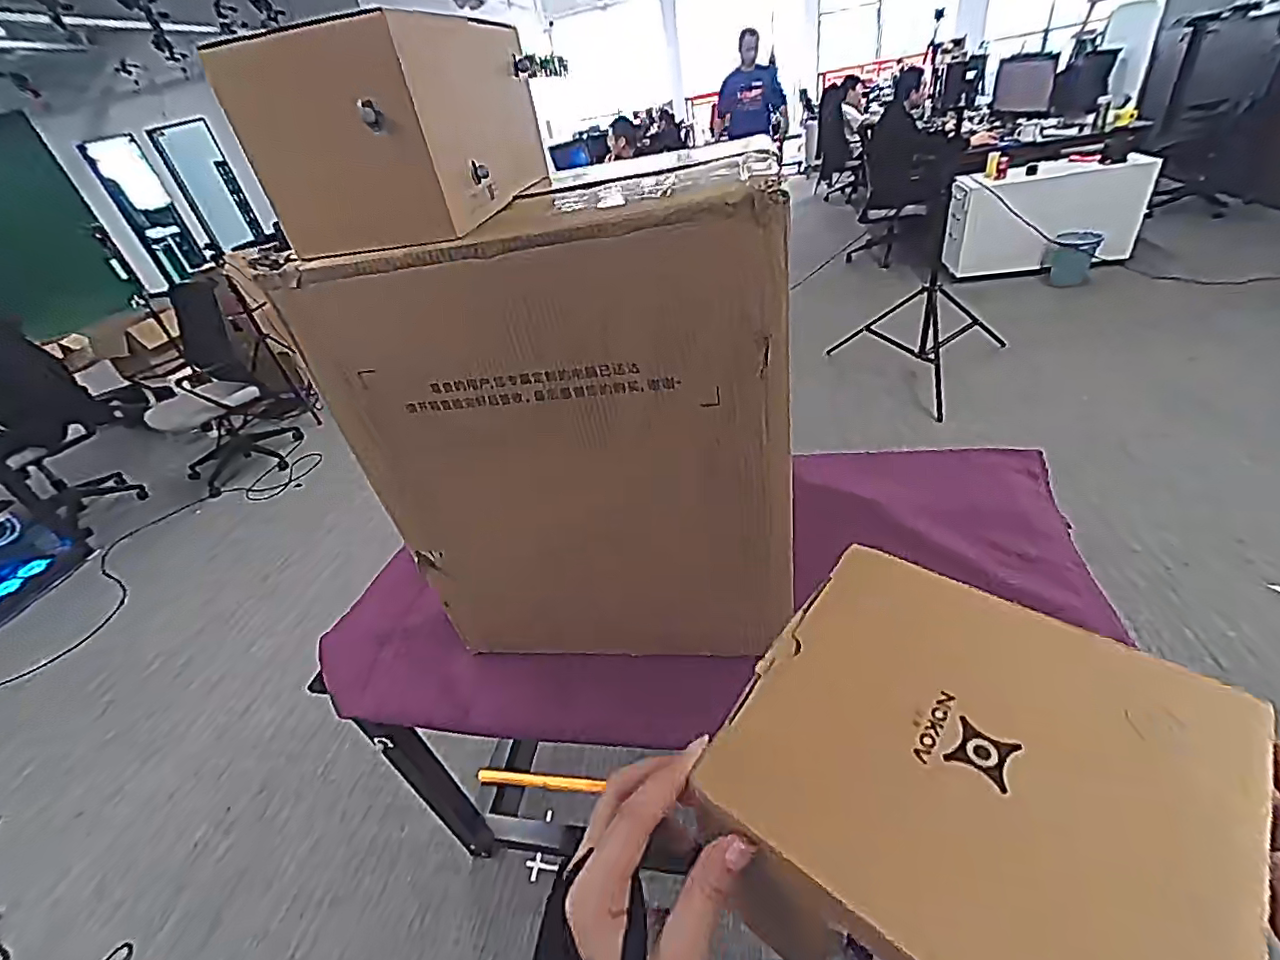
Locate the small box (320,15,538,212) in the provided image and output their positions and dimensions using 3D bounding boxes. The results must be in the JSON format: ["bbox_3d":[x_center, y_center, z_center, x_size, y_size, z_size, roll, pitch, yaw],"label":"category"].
[{"bbox_3d":[-0.238,-0.443,0.668,0.168,0.176,0.179,-3,36,12],"label":"small box"}]
